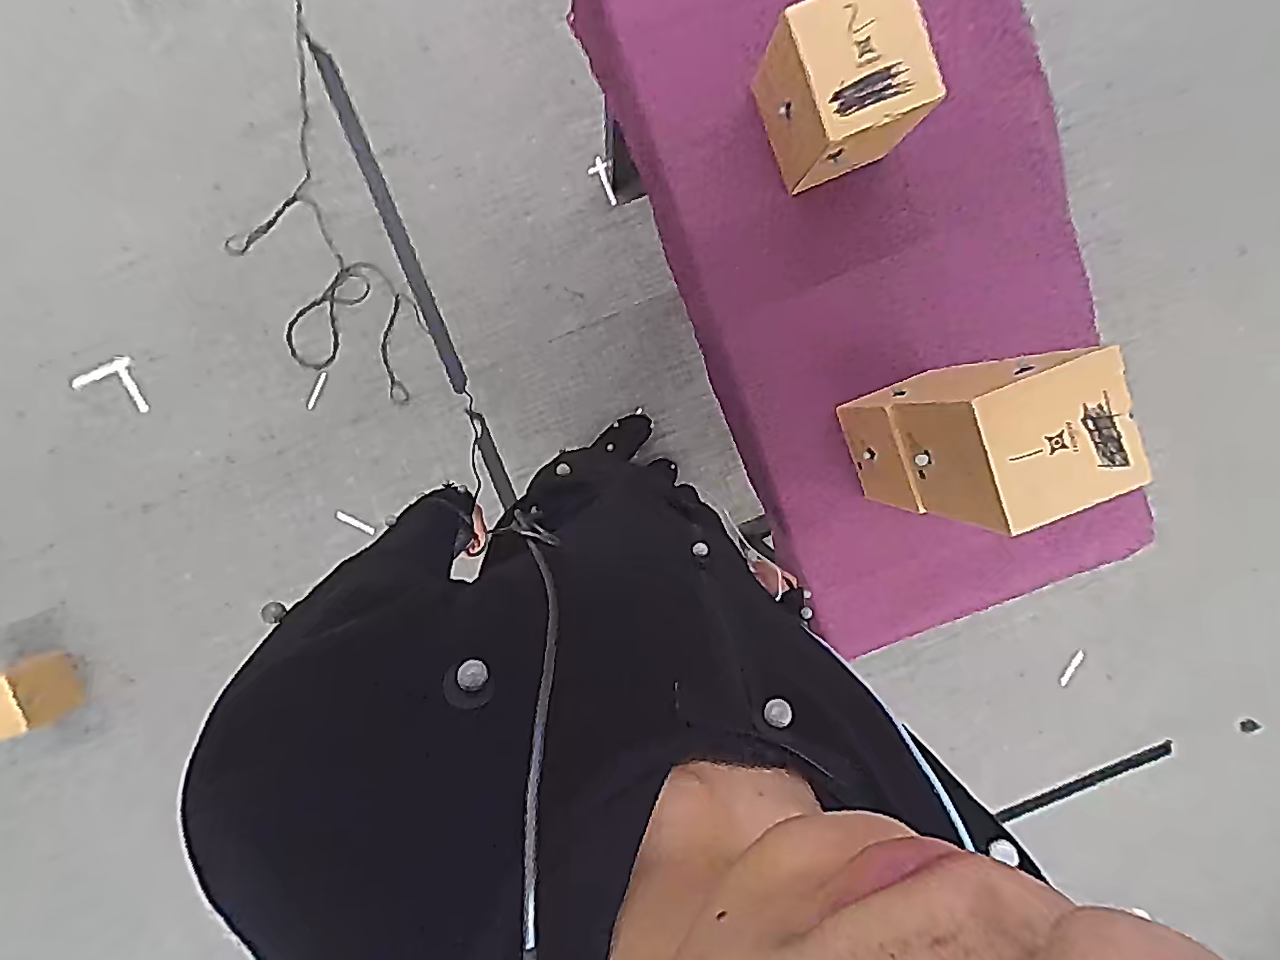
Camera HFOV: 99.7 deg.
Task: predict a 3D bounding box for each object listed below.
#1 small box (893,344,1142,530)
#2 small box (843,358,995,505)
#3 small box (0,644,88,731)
[{"bbox_3d":[0.460,-0.058,0.682,0.179,0.176,0.168,-21,98,0],"label":"small box"},{"bbox_3d":[0.440,-0.075,0.844,0.179,0.176,0.168,-21,98,-1],"label":"small box"},{"bbox_3d":[-1.754,0.587,1.539,0.168,0.176,0.179,-15,99,-2],"label":"small box"}]
